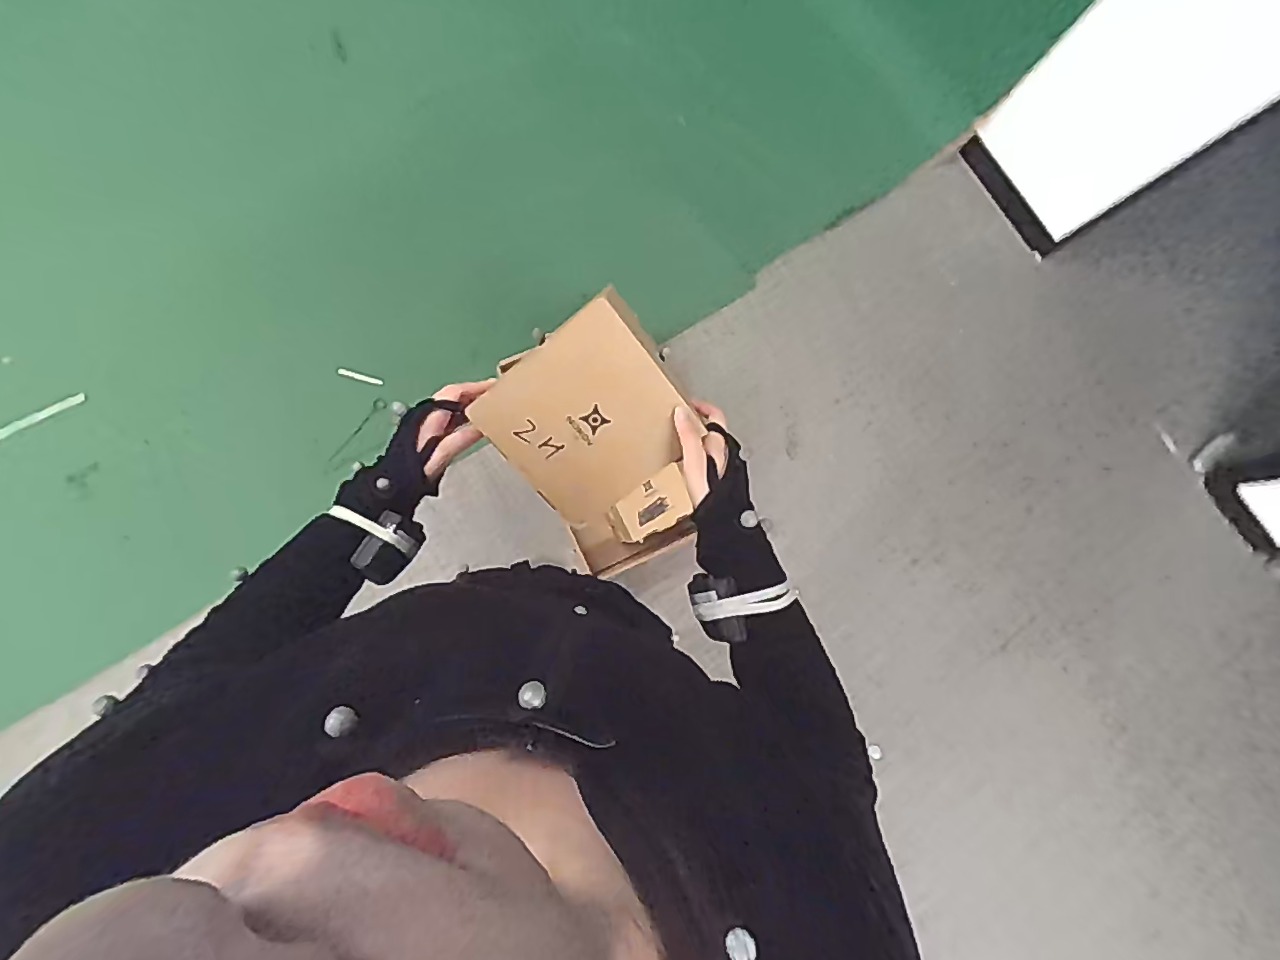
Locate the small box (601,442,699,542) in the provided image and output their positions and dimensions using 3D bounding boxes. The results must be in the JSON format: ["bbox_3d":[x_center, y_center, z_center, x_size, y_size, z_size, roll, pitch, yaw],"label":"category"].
[{"bbox_3d":[0.018,0.034,1.263,0.168,0.176,0.179,-25,85,-9],"label":"small box"}]
